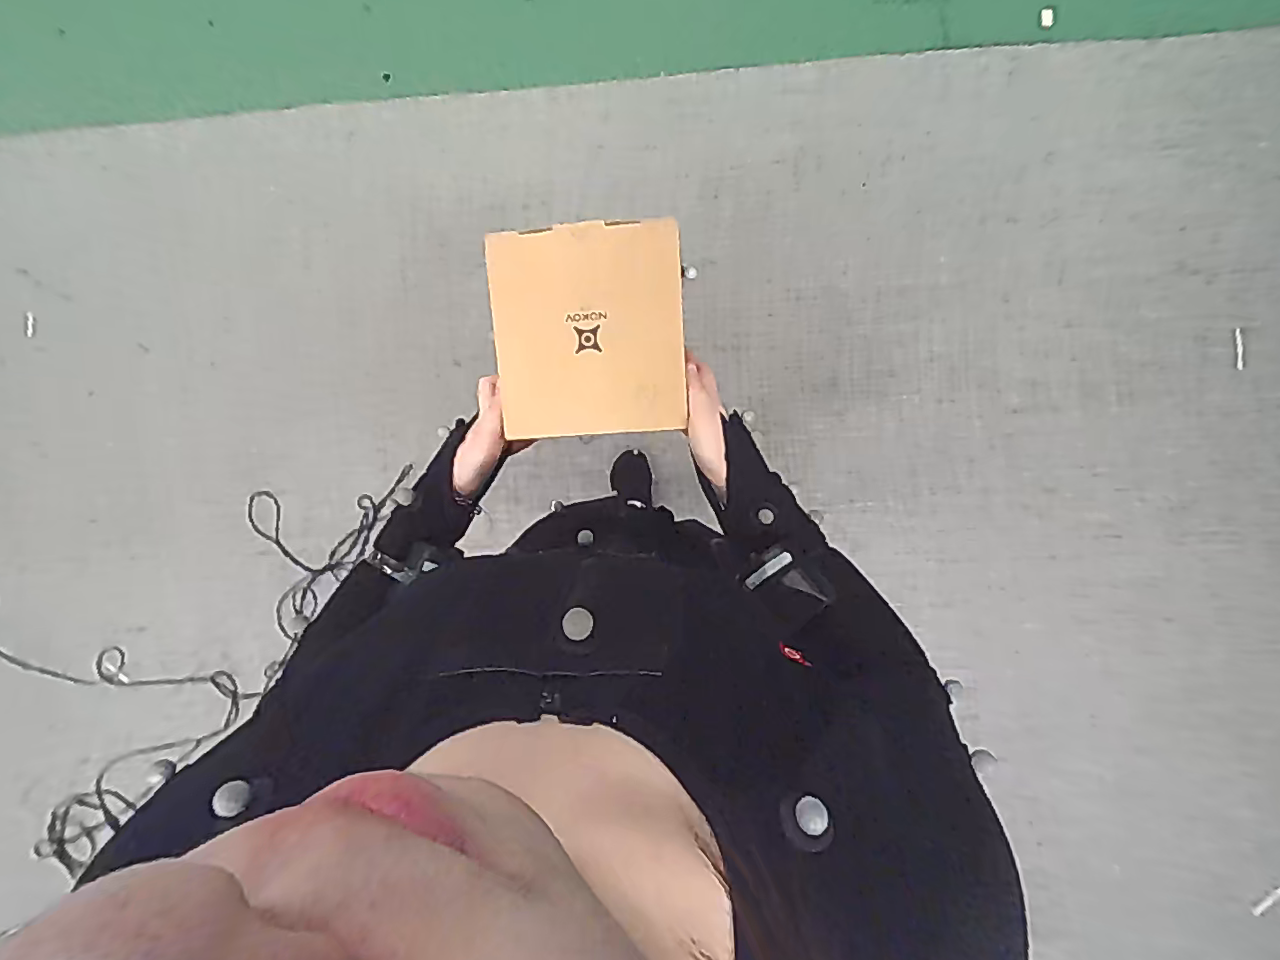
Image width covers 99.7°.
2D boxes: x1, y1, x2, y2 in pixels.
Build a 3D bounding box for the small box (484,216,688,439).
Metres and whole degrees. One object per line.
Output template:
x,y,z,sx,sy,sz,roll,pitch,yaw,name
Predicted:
-0.037,-0.141,0.537,0.168,0.176,0.179,-3,100,5,small box
